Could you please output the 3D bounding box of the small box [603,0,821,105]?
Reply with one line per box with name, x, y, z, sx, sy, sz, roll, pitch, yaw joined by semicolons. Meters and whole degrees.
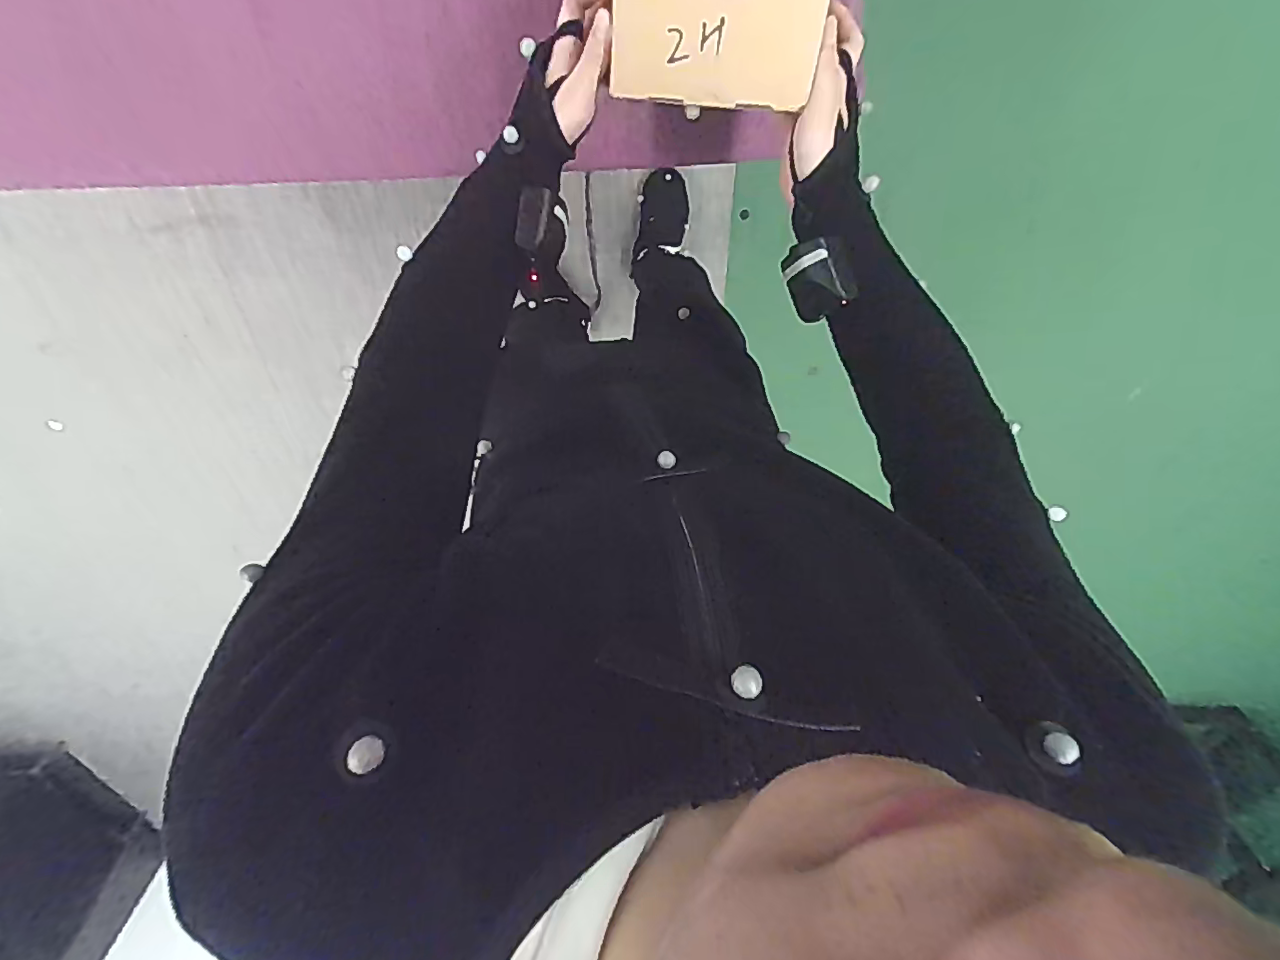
small box;0.054;-0.430;0.454;0.168;0.176;0.179;2;128;-3
